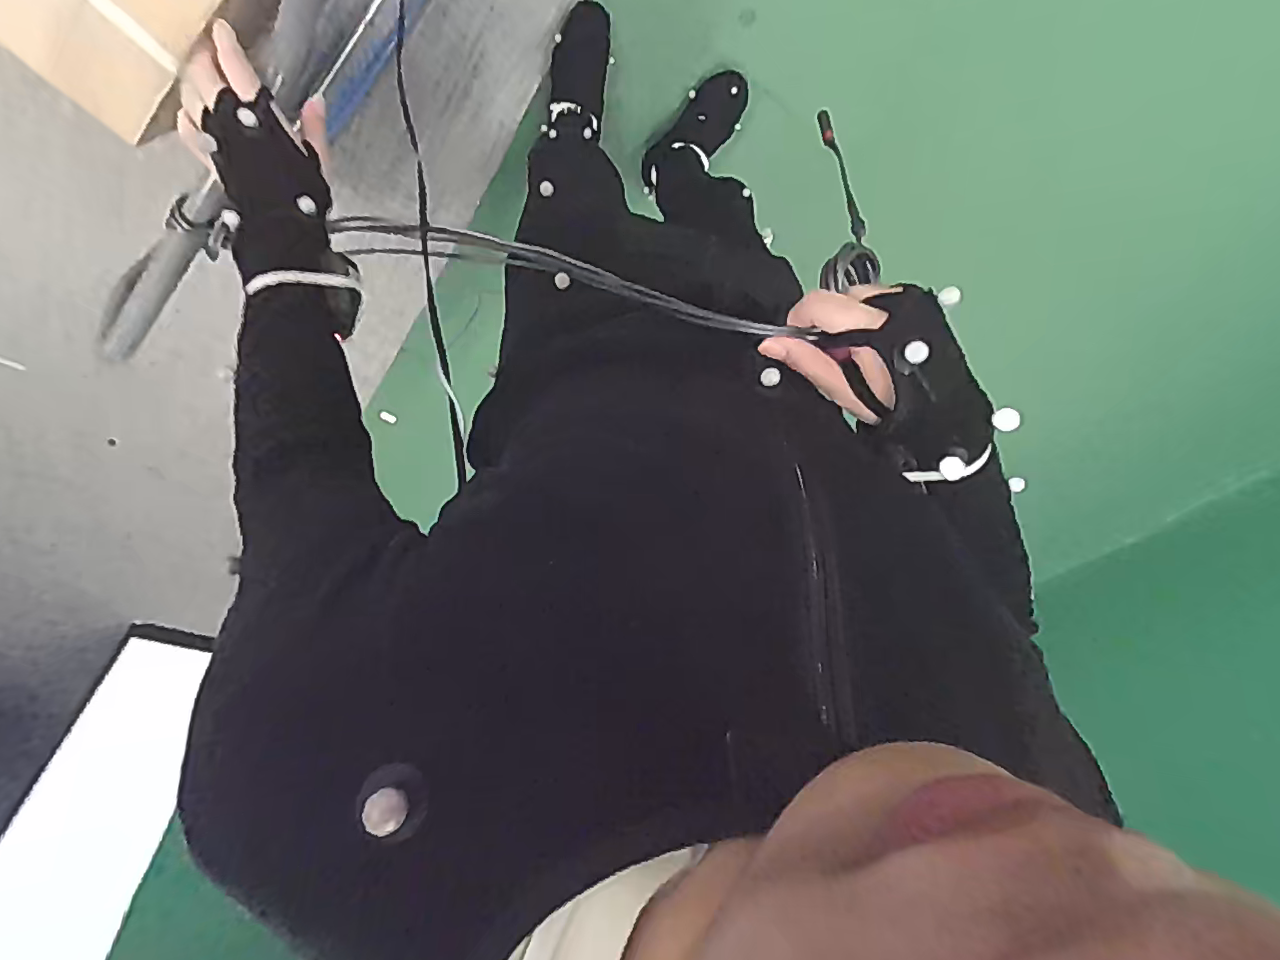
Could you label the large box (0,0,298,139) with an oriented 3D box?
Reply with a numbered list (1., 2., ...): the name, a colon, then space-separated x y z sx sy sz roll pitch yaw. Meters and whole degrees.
1. large box: -0.750 -0.779 0.728 0.320 0.320 0.408 -30 130 23
